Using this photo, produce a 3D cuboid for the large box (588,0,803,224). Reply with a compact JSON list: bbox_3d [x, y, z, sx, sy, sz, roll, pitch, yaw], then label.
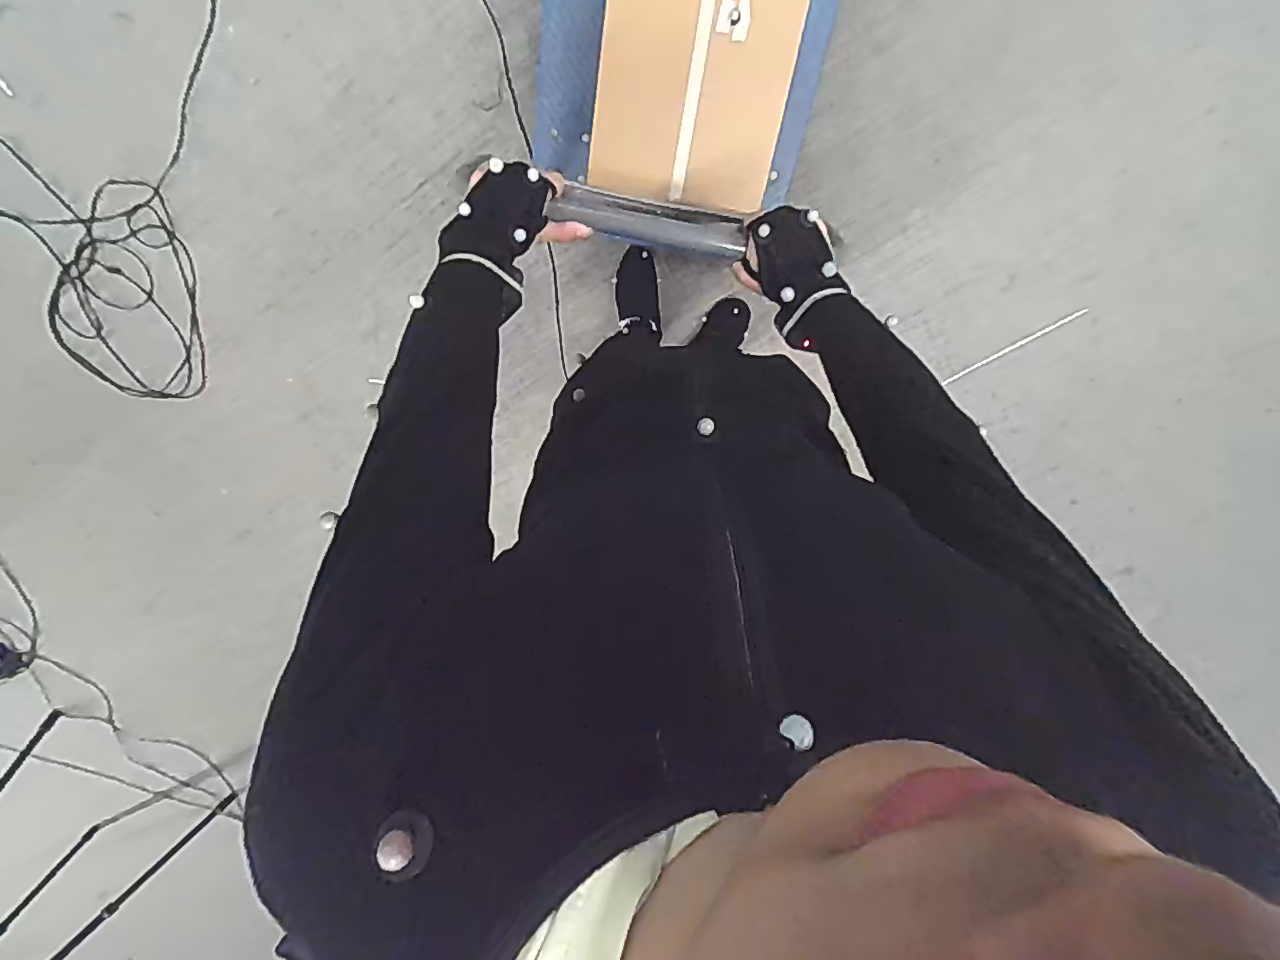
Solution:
[{"bbox_3d":[0.094,-0.733,1.032,0.320,0.320,0.408,9,114,-3],"label":"large box"}]
